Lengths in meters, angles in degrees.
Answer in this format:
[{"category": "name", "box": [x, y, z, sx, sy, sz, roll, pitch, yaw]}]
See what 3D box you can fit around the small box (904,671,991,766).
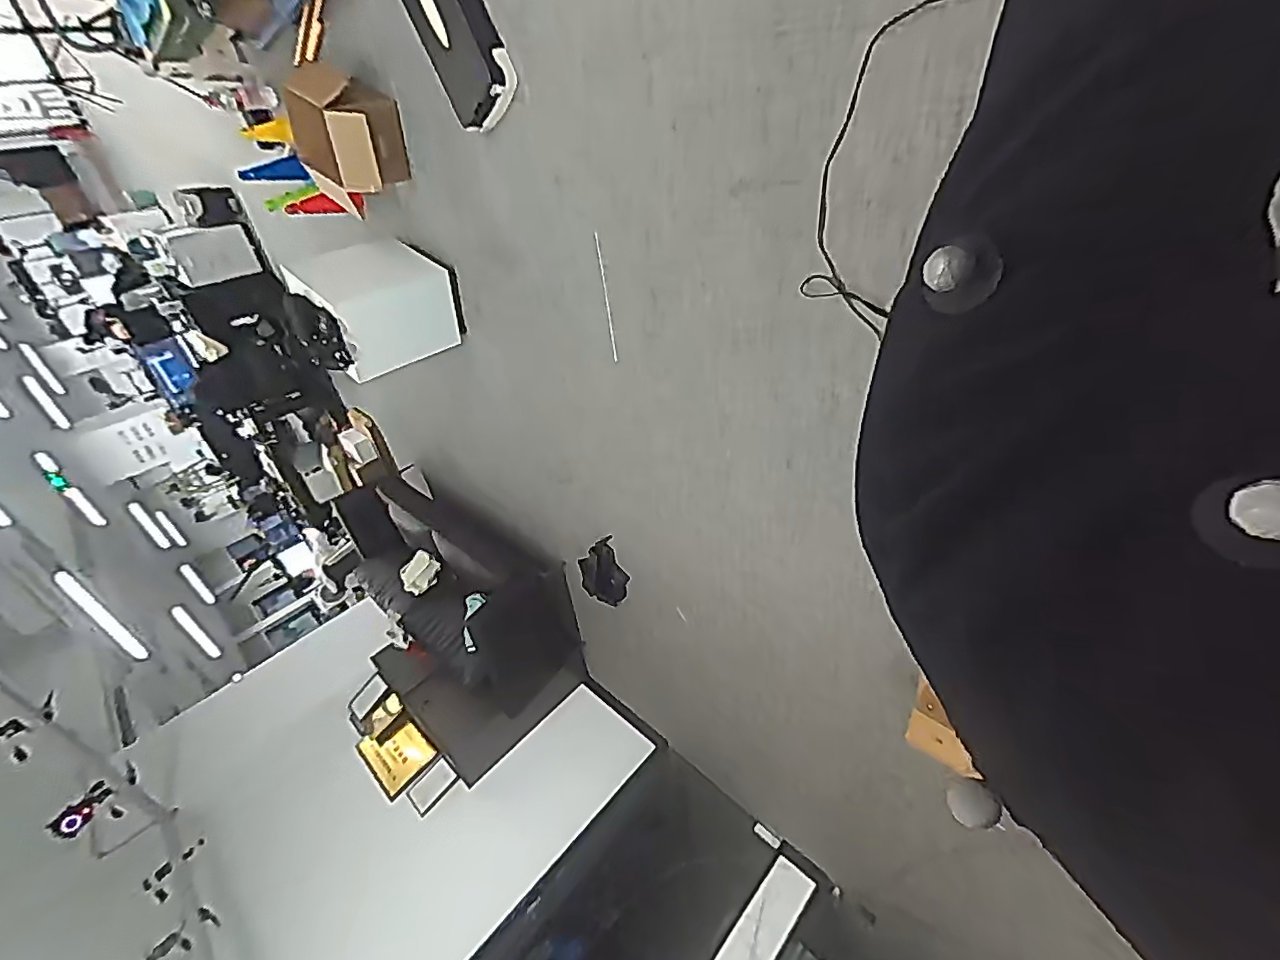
[{"category": "small box", "box": [0.952, 0.731, 1.674, 0.179, 0.176, 0.168, 25, 137, 38]}]
